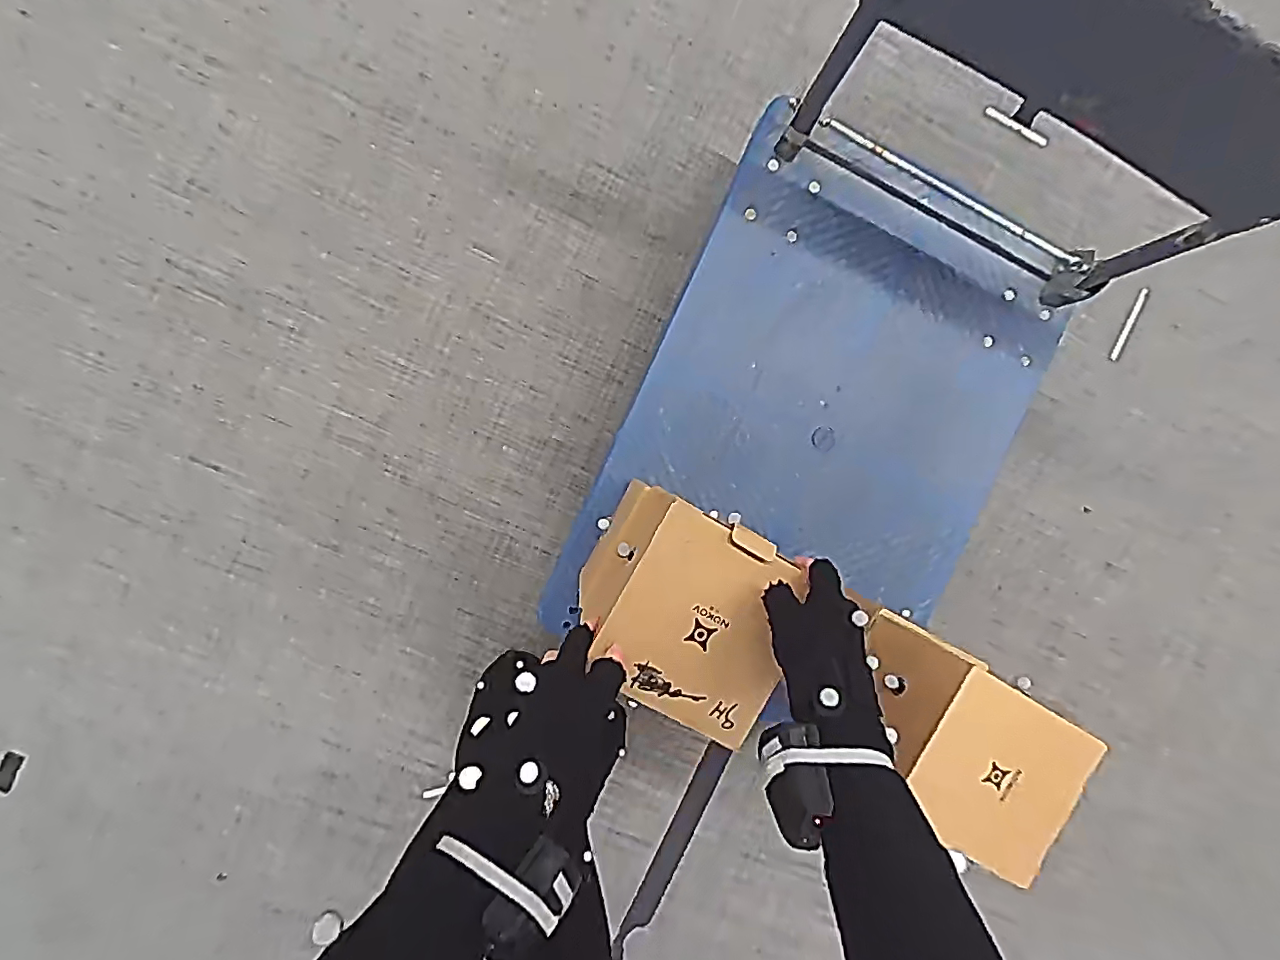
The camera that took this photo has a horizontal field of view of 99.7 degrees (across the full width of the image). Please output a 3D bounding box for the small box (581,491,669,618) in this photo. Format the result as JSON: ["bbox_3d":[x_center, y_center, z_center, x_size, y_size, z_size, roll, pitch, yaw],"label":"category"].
[{"bbox_3d":[0.036,0.123,0.720,0.179,0.176,0.168,29,89,-6],"label":"small box"}]

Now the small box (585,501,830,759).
[{"bbox_3d":[0.053,0.134,0.555,0.168,0.176,0.179,30,89,-5],"label":"small box"}]

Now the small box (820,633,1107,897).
[{"bbox_3d":[0.335,0.291,0.597,0.179,0.176,0.168,31,89,-8],"label":"small box"}]
